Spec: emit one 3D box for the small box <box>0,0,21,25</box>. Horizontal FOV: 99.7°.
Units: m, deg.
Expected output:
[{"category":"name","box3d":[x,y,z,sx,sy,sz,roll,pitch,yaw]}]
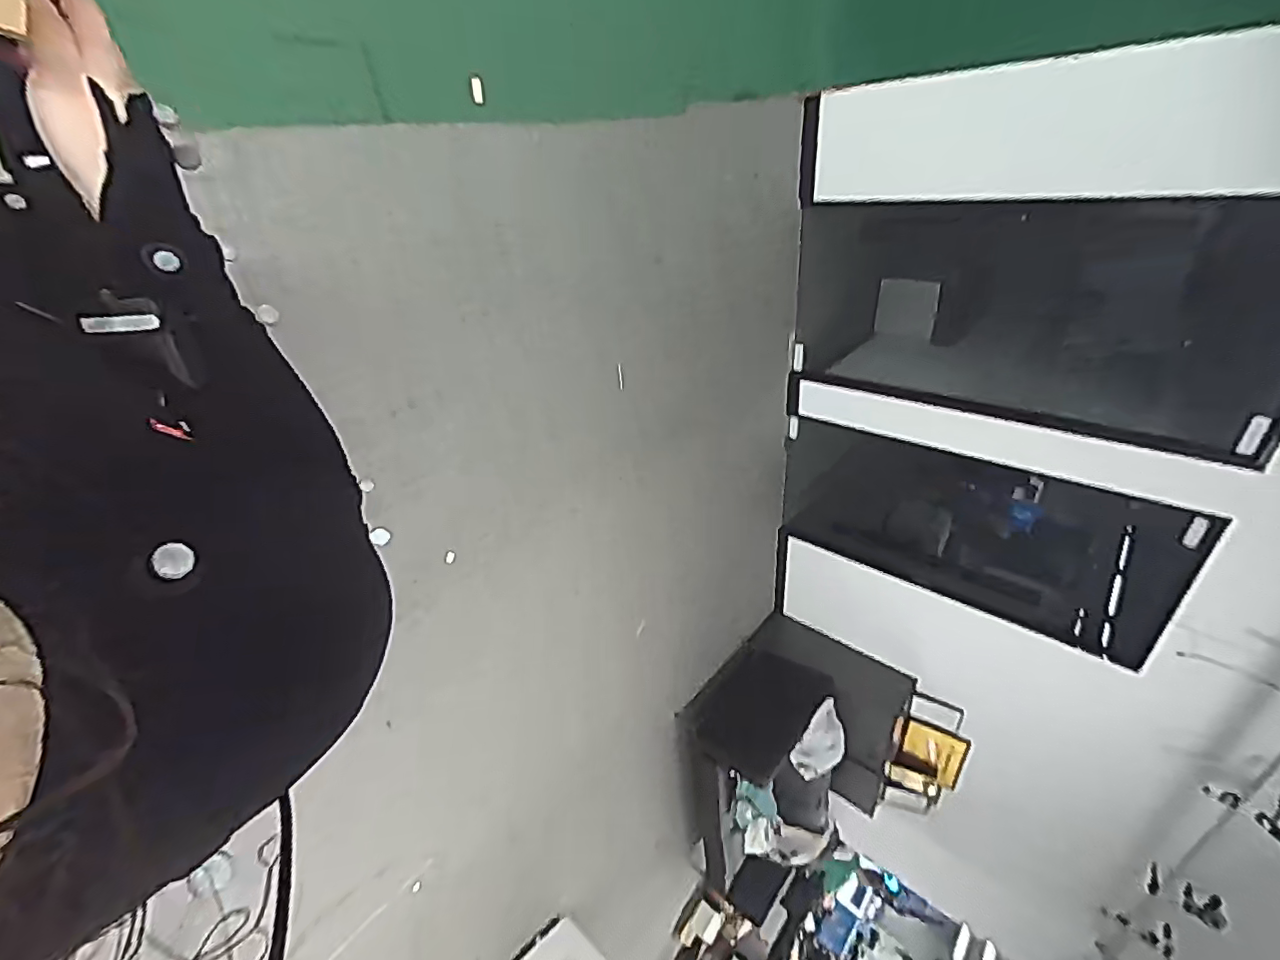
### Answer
[{"category":"small box","box3d":[-0.368,-0.312,0.199,0.168,0.176,0.179,-8,124,-48]}]
